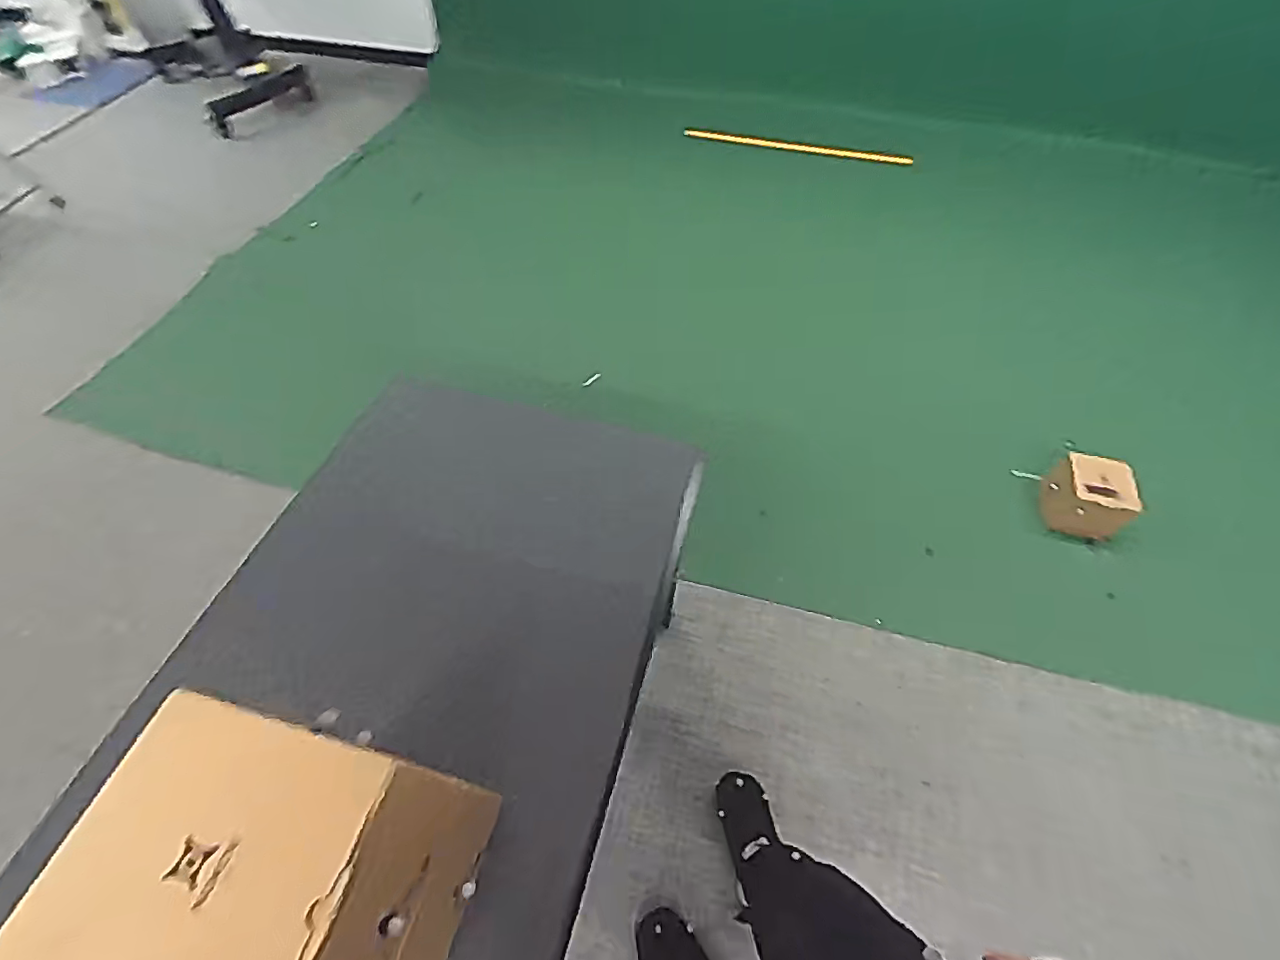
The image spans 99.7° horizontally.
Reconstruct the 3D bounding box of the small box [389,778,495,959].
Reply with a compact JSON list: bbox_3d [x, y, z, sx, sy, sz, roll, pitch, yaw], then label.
[{"bbox_3d":[-0.265,0.366,0.520,0.179,0.176,0.168,12,57,9],"label":"small box"}]

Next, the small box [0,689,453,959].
[{"bbox_3d":[-0.266,0.274,0.386,0.179,0.176,0.168,12,56,9],"label":"small box"}]
